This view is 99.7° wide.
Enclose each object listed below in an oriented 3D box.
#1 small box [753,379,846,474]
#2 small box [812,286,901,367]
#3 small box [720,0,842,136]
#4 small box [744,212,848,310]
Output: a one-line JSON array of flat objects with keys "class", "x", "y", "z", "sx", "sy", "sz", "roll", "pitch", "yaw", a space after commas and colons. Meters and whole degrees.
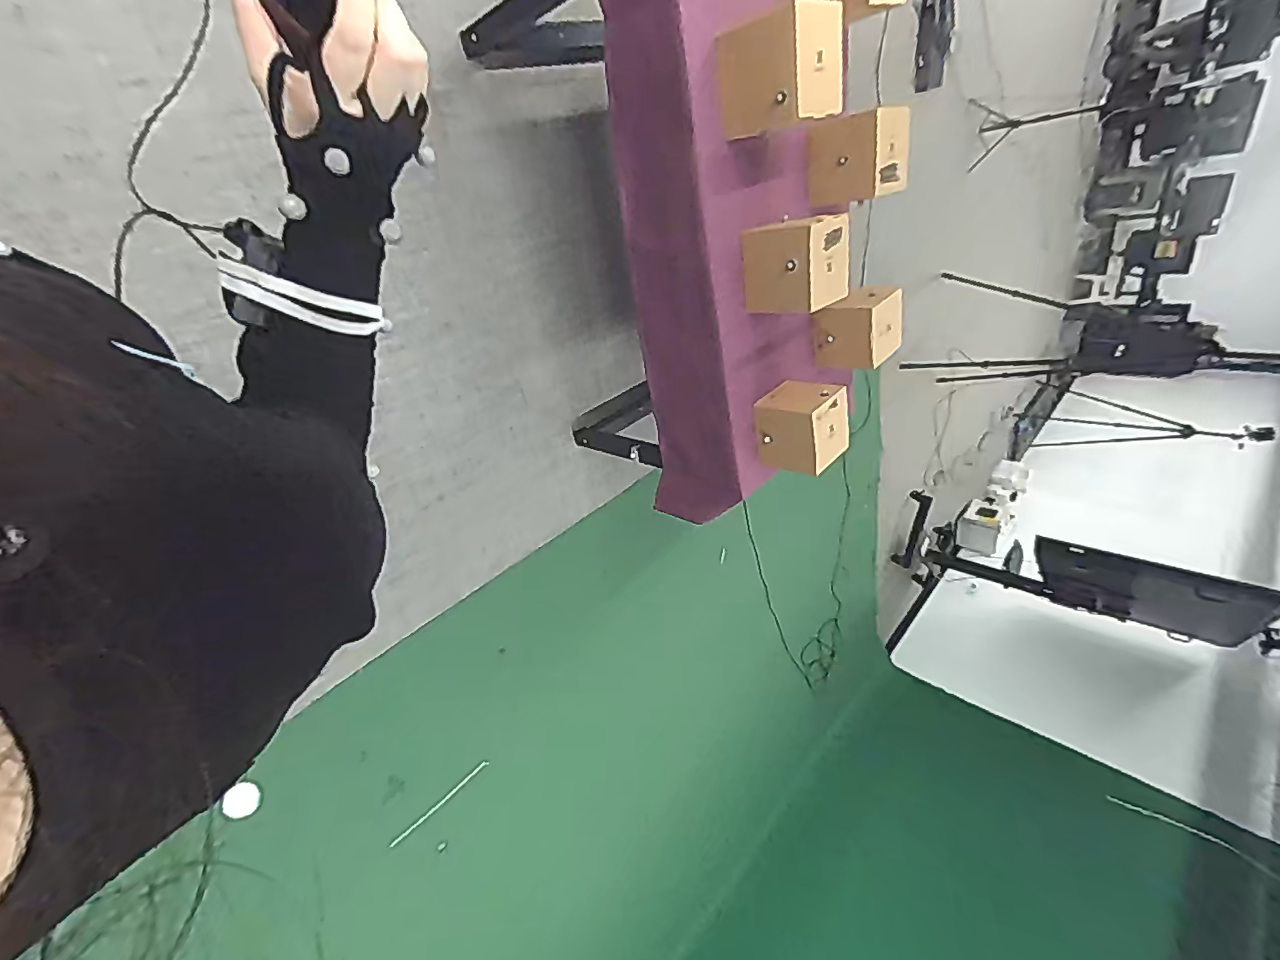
[{"class": "small box", "x": 0.410, "y": -0.144, "z": 1.387, "sx": 0.168, "sy": 0.176, "sz": 0.179, "roll": -35, "pitch": 126, "yaw": -33}, {"class": "small box", "x": 0.591, "y": -0.424, "z": 1.476, "sx": 0.179, "sy": 0.176, "sz": 0.168, "roll": -36, "pitch": 126, "yaw": -31}, {"class": "small box", "x": 0.267, "y": -0.781, "z": 1.034, "sx": 0.168, "sy": 0.176, "sz": 0.179, "roll": -33, "pitch": 126, "yaw": -34}, {"class": "small box", "x": 0.348, "y": -0.487, "z": 1.211, "sx": 0.168, "sy": 0.176, "sz": 0.179, "roll": -31, "pitch": 124, "yaw": -35}]
